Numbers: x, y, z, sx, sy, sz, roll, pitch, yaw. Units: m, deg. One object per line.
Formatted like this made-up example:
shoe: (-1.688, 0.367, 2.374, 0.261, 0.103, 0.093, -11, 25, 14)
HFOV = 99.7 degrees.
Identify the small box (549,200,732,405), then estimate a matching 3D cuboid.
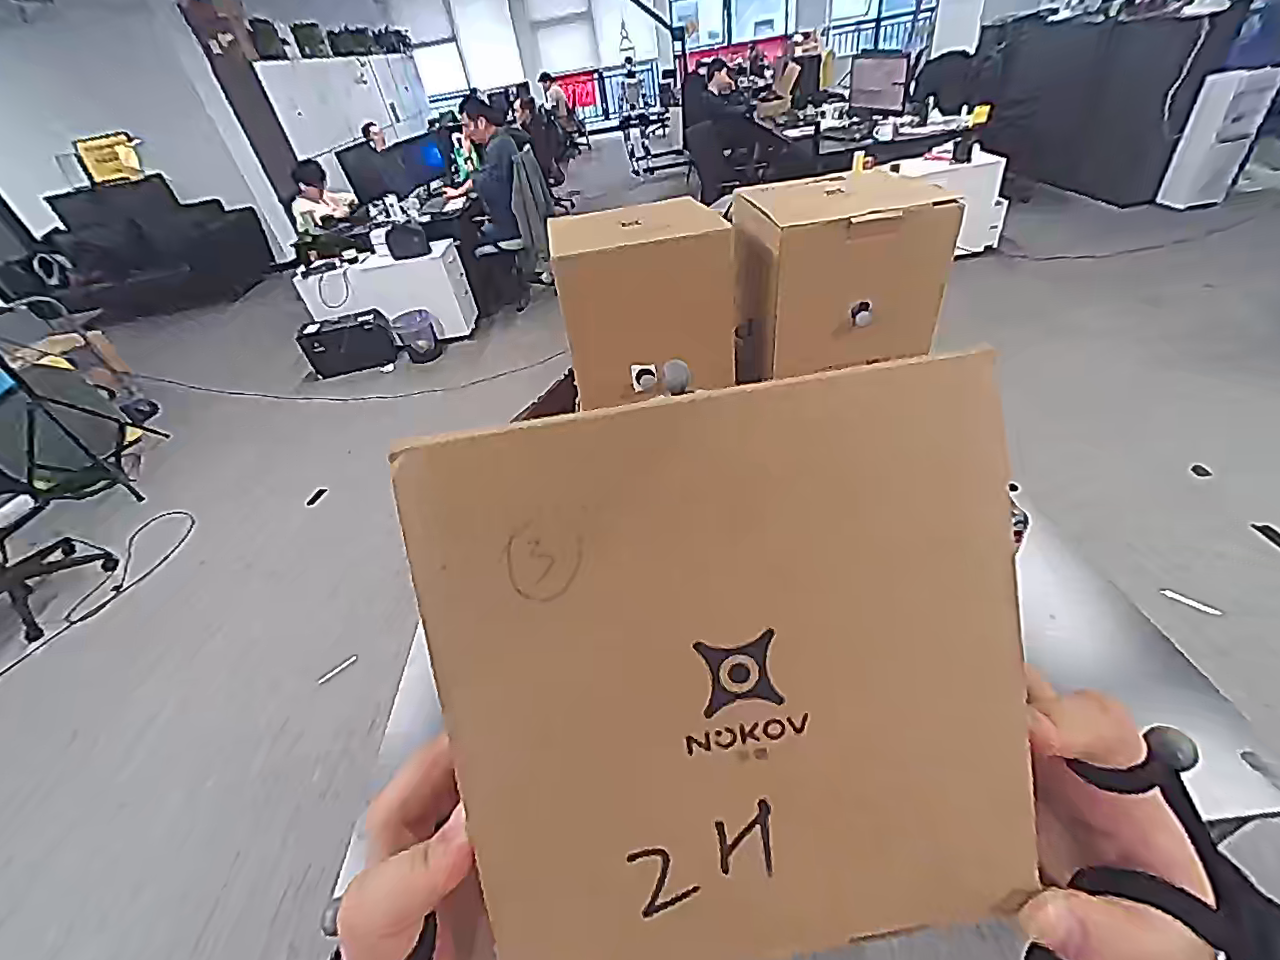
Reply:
small box: (-0.002, -0.190, 0.593, 0.168, 0.176, 0.179, -12, 38, -3)

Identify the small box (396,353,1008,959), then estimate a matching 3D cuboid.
small box: (0.021, 0.051, 0.240, 0.168, 0.179, 0.176, -9, 8, 0)
